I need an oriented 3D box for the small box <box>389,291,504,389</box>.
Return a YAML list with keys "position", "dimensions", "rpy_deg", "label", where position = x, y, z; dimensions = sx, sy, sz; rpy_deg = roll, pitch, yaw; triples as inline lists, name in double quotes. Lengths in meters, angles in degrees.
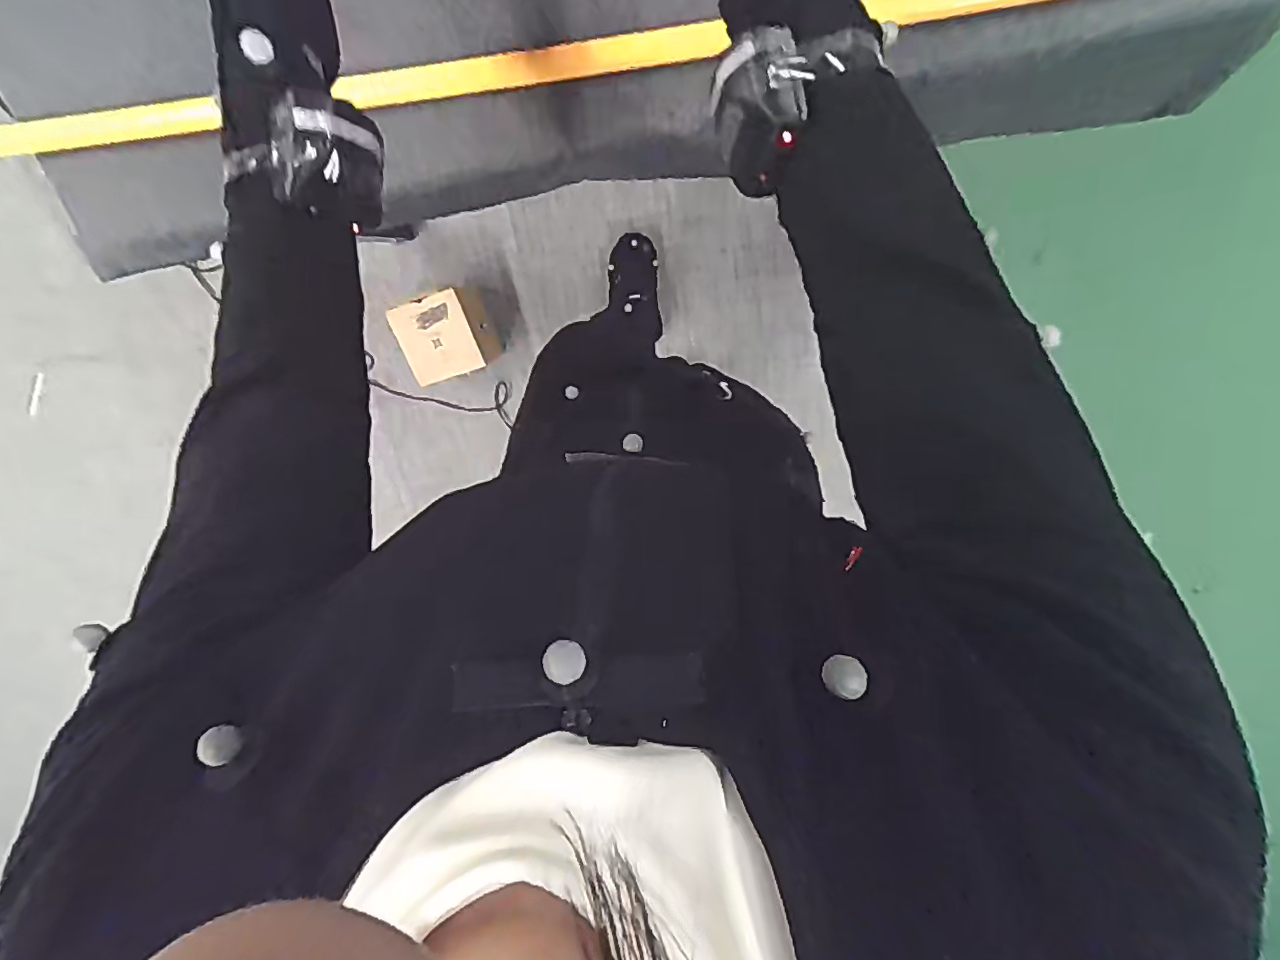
- position: [-0.439, -0.332, 1.255]
  dimensions: [0.168, 0.176, 0.179]
  rpy_deg: [-15, 112, 8]
  label: "small box"
